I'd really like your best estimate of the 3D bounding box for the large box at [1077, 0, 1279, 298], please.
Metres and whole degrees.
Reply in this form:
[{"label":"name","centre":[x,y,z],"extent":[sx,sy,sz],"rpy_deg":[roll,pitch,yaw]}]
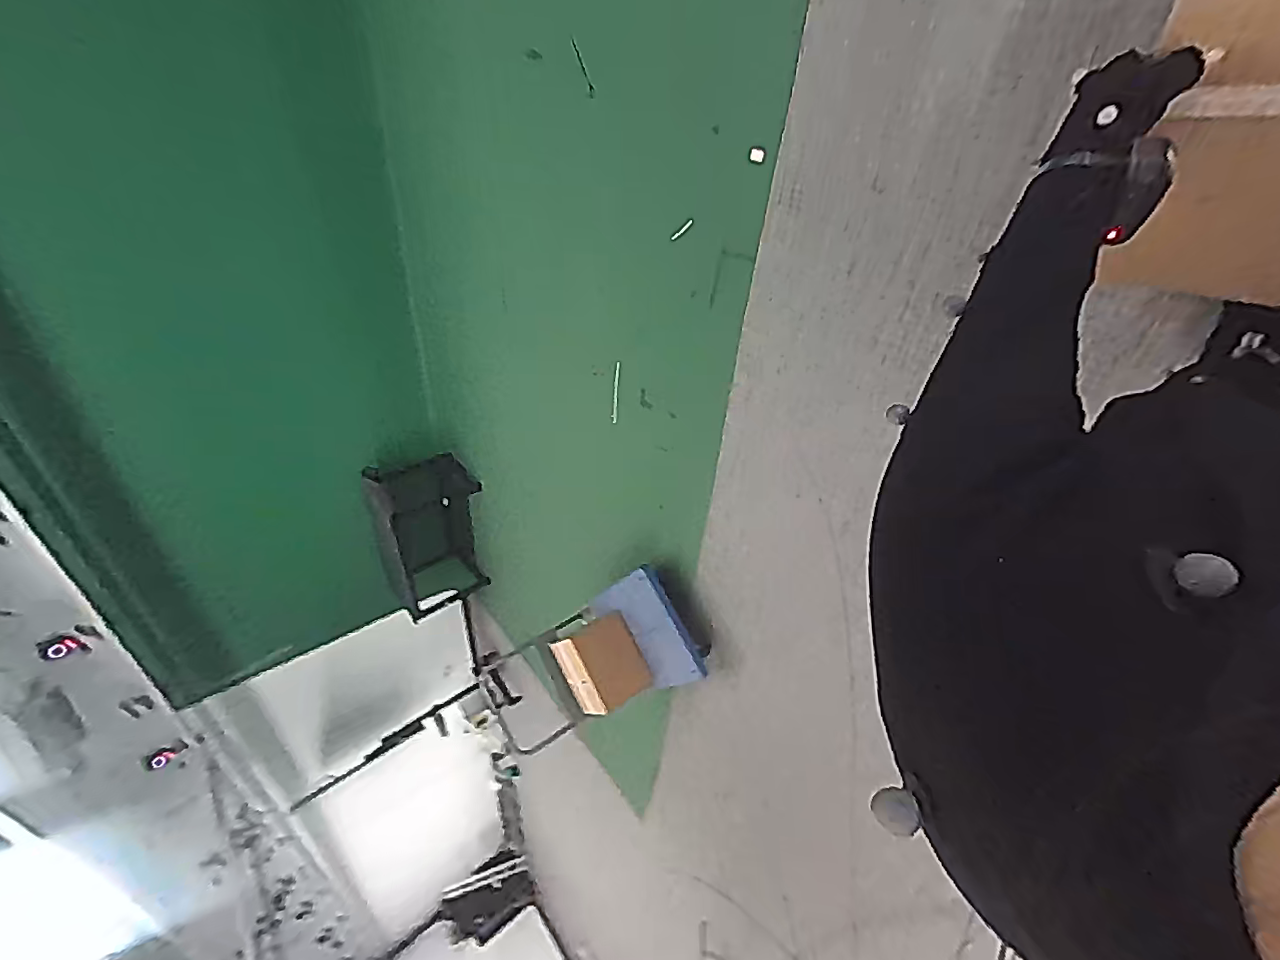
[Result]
[{"label":"large box","centre":[0.706,-0.336,0.465],"extent":[0.408,0.320,0.320],"rpy_deg":[29,134,39]}]
